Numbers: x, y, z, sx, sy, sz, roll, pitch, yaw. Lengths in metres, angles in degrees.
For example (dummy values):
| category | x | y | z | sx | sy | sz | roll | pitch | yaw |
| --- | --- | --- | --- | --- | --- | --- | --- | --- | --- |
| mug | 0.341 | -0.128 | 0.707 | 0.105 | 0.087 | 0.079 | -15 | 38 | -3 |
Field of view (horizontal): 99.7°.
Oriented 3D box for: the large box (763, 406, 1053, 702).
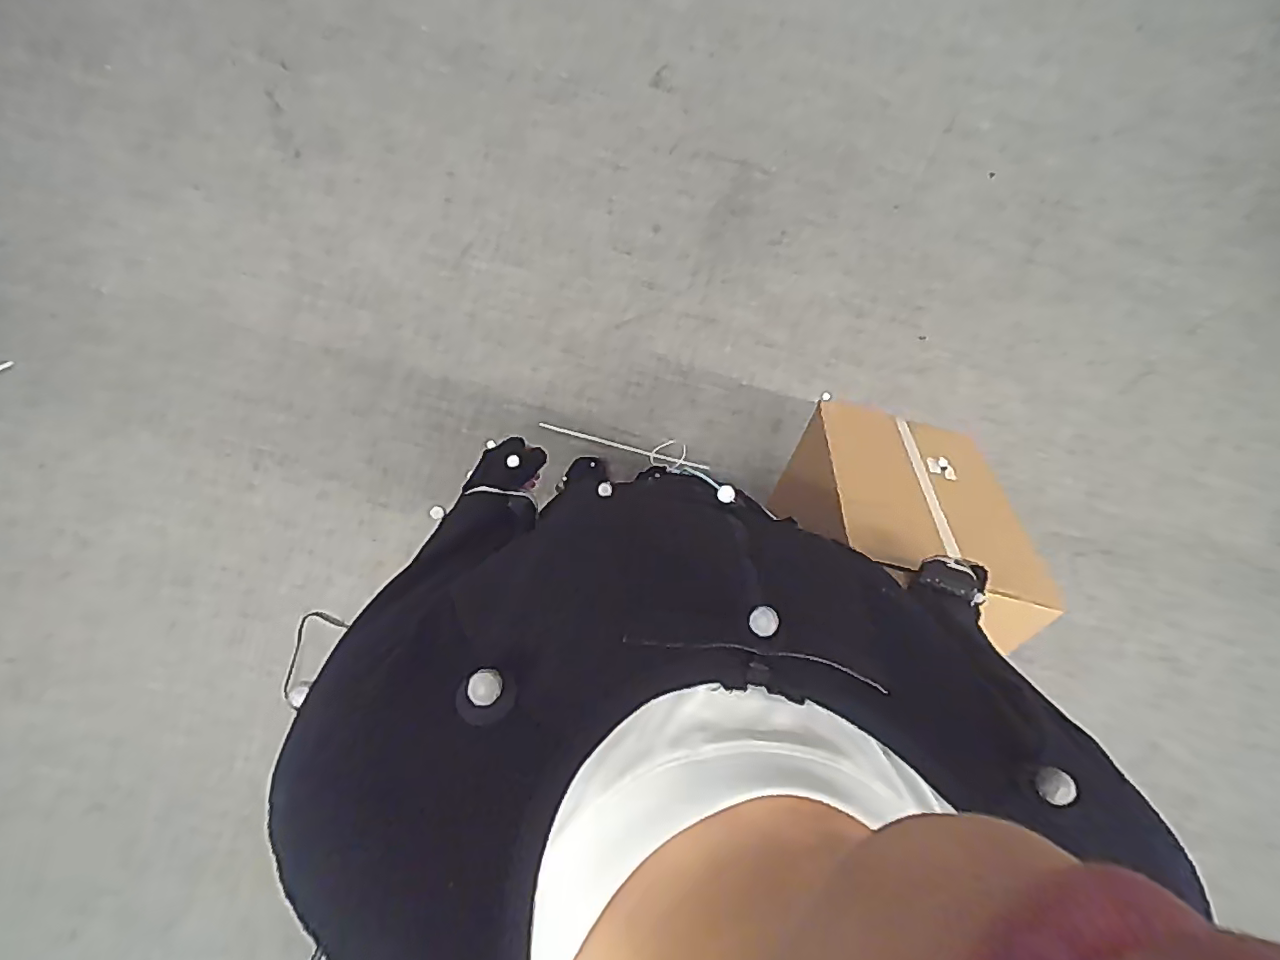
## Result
| category | x | y | z | sx | sy | sz | roll | pitch | yaw |
| --- | --- | --- | --- | --- | --- | --- | --- | --- | --- |
| large box | 0.431 | 0.129 | 0.998 | 0.320 | 0.408 | 0.320 | 15 | 131 | -2 |
